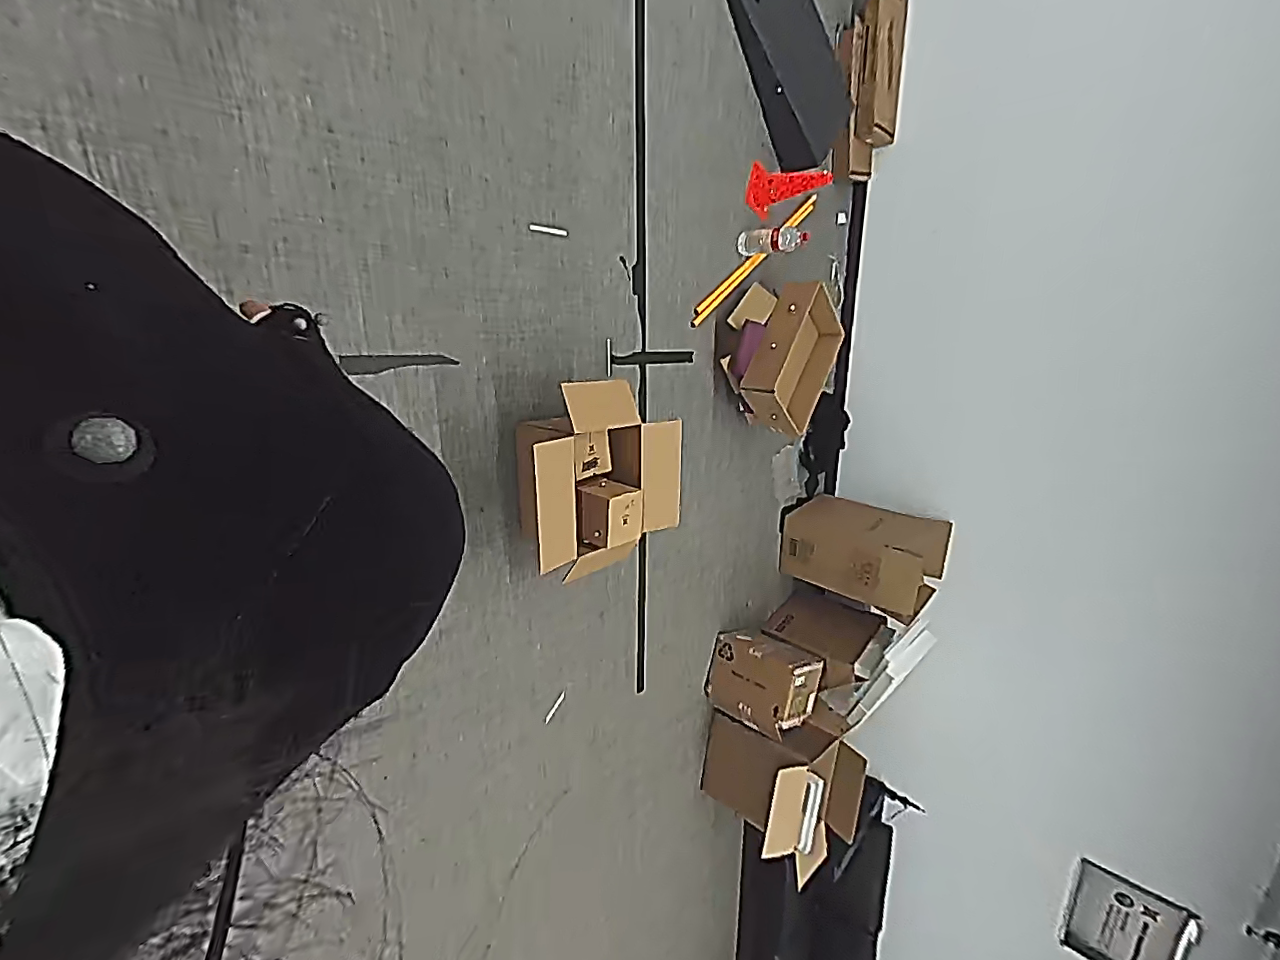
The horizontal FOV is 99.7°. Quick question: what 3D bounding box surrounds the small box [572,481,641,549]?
[{"bbox_3d":[-0.117,0.113,1.833,0.168,0.176,0.179,-14,112,-47],"label":"small box"}]
